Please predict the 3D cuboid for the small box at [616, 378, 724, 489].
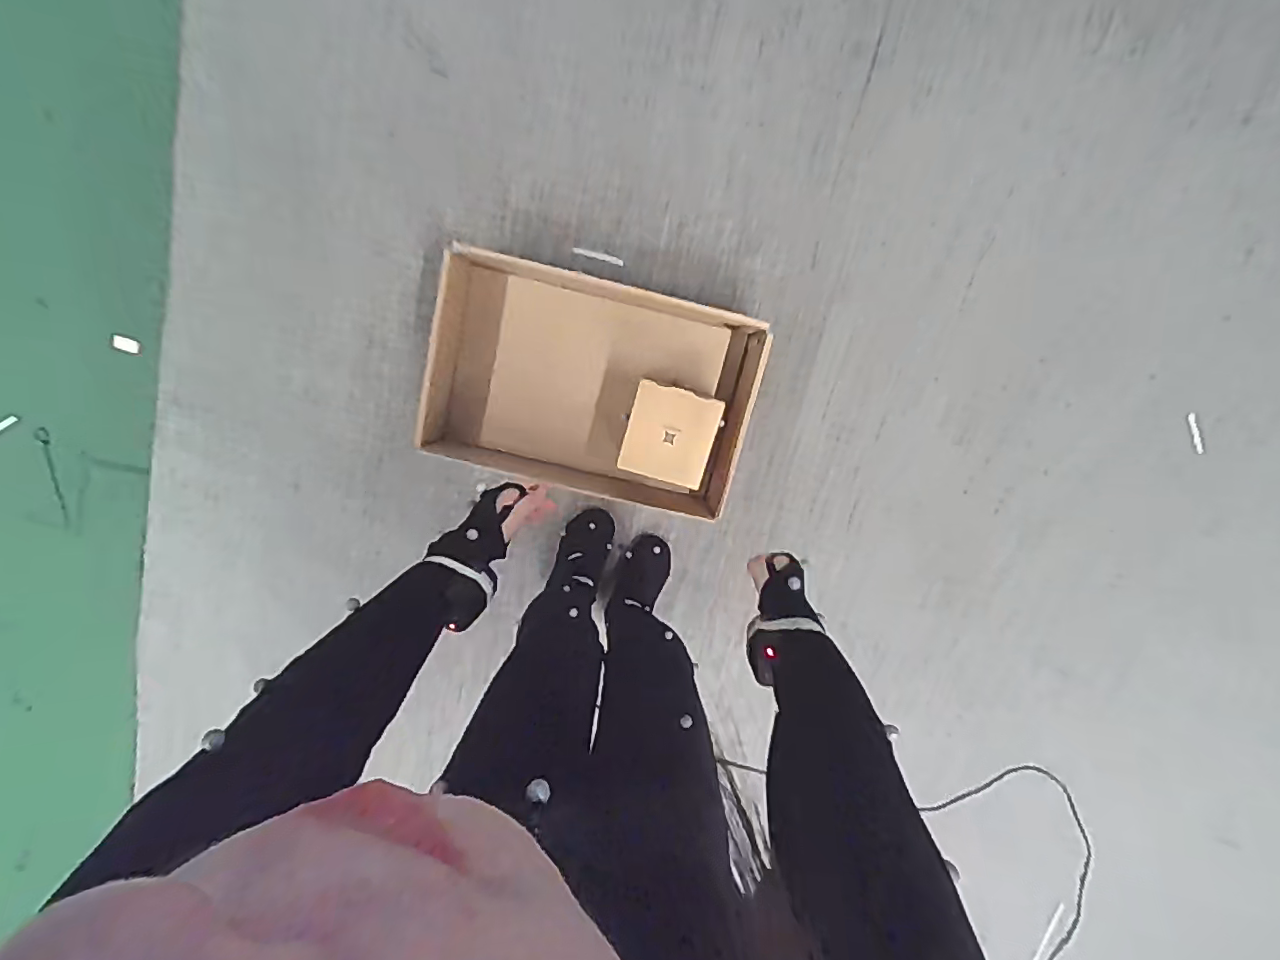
[{"bbox_3d":[0.057,-0.101,1.099,0.168,0.176,0.179,16,101,-4],"label":"small box"}]
